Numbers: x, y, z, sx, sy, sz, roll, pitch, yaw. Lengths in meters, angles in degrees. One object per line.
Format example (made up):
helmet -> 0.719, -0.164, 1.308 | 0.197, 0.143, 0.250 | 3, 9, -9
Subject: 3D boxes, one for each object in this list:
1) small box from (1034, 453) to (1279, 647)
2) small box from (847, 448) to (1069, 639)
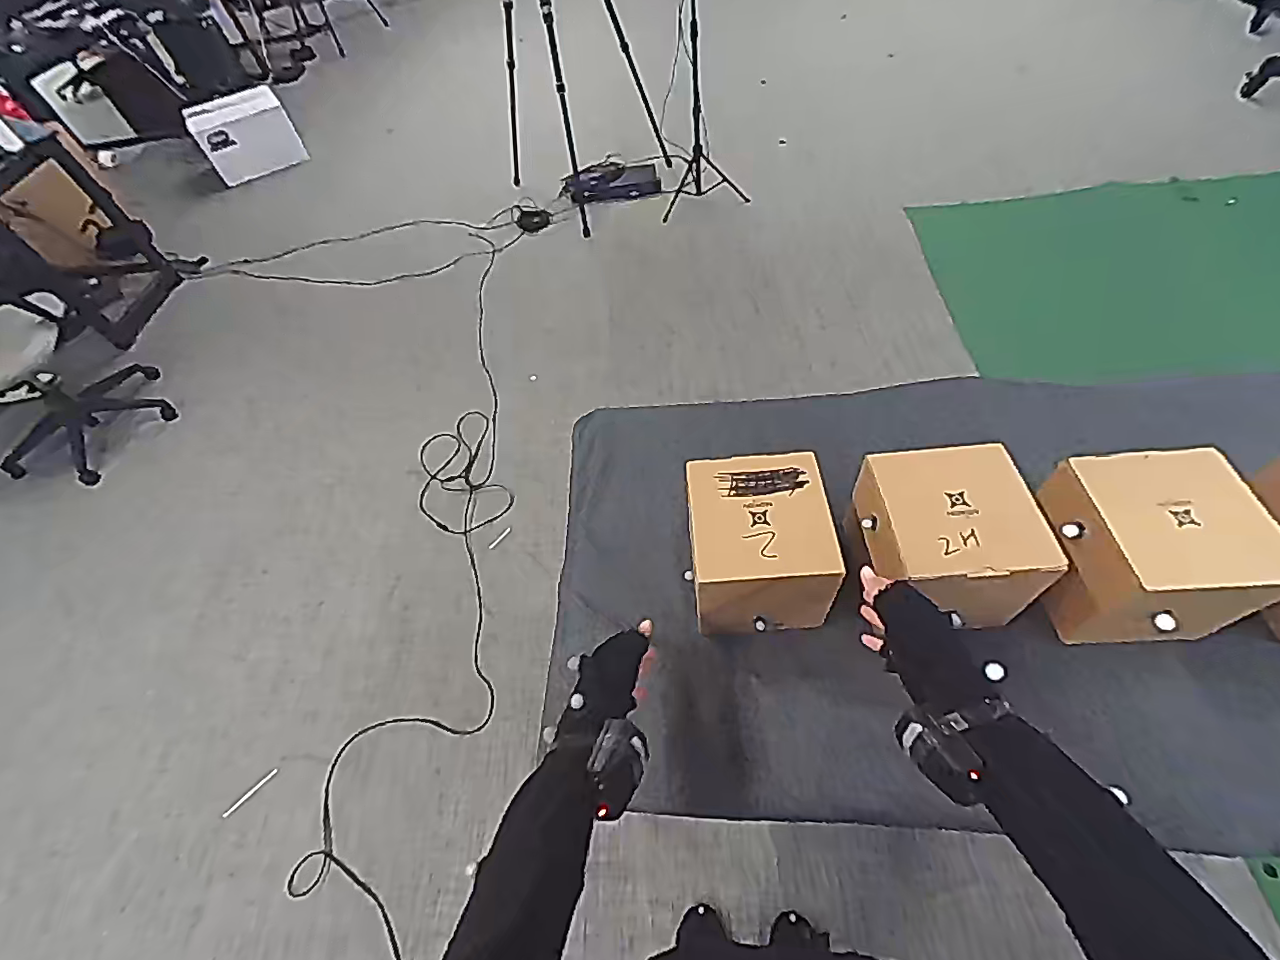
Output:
small box -> 0.596, 0.092, 0.646 | 0.168, 0.176, 0.179 | -4, 52, 5
small box -> 0.374, 0.084, 0.682 | 0.168, 0.176, 0.179 | -5, 53, 5
